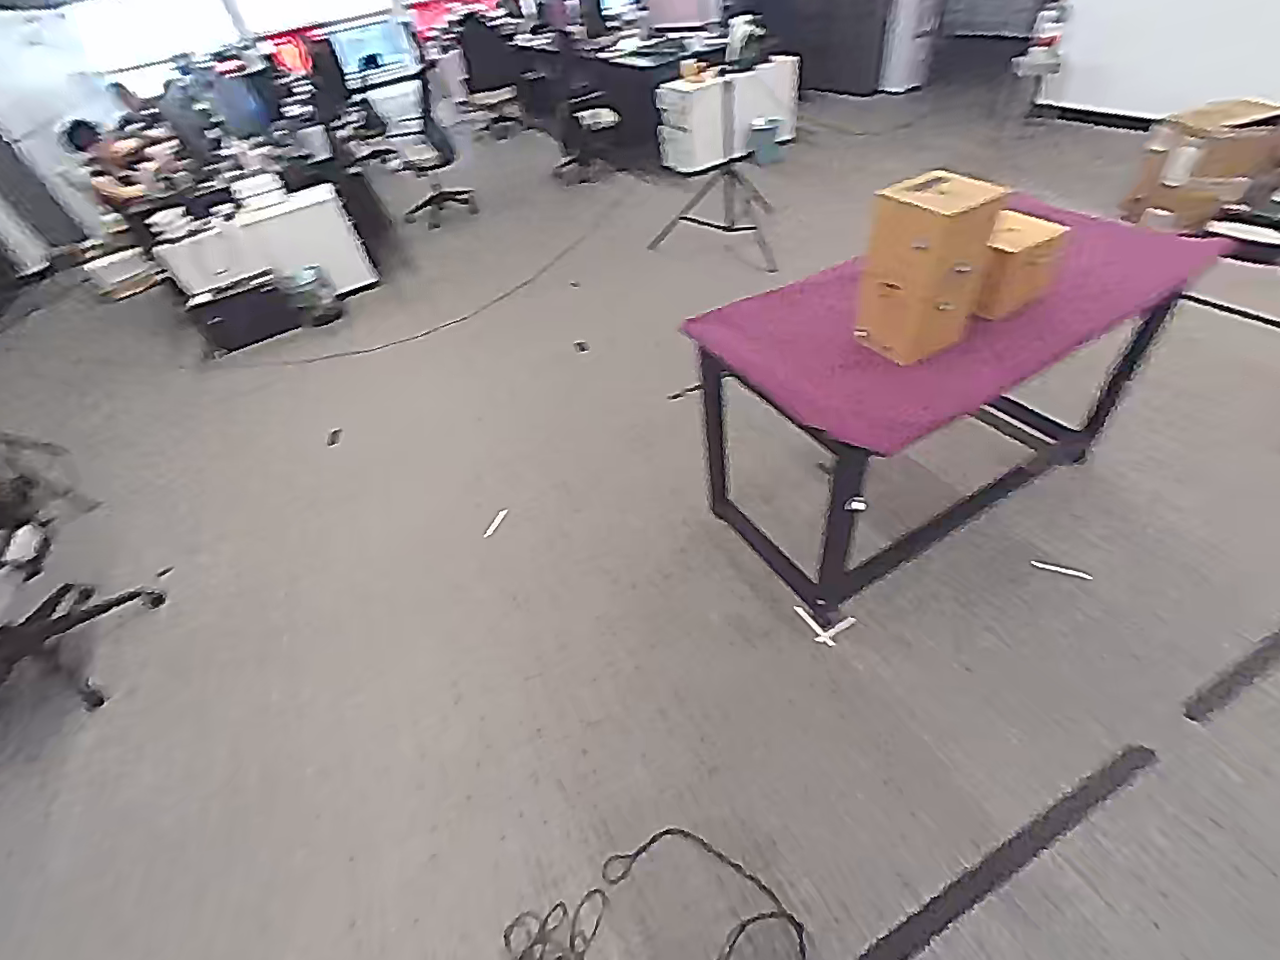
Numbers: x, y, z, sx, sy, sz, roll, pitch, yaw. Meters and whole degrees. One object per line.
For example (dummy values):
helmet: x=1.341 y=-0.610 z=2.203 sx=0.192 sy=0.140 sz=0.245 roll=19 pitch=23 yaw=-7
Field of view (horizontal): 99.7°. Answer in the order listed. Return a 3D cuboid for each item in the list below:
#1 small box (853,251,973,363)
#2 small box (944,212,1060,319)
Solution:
small box: x=0.611 y=-0.393 z=1.236 sx=0.179 sy=0.176 sz=0.168 roll=-26 pitch=47 yaw=-15
small box: x=0.854 y=-0.520 z=1.313 sx=0.179 sy=0.176 sz=0.168 roll=-27 pitch=47 yaw=-13
